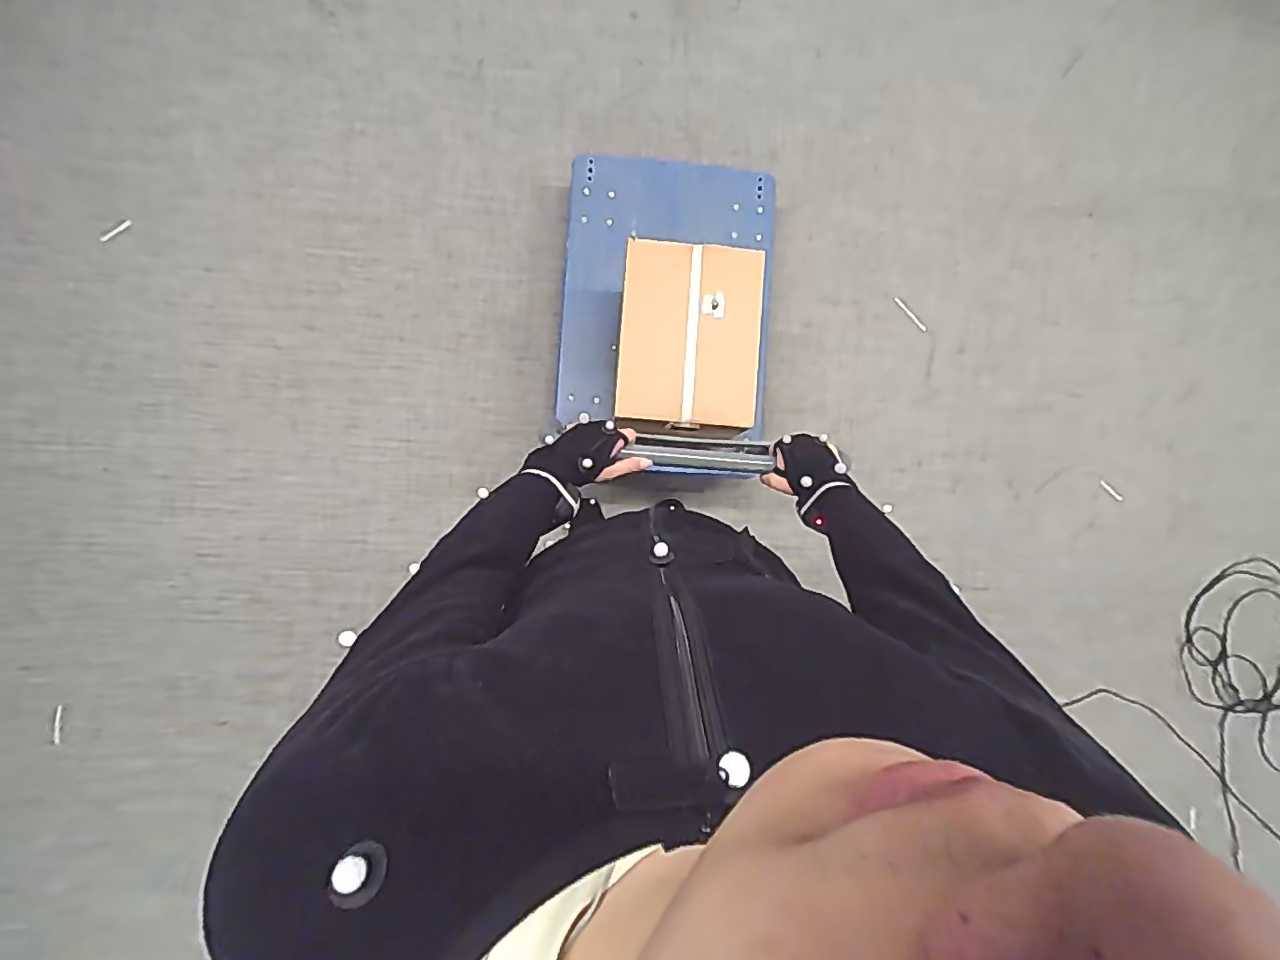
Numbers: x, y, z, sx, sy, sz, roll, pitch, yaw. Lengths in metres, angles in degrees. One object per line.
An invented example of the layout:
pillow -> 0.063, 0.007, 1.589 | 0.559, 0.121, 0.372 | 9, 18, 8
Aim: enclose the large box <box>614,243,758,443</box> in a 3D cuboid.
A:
large box -> 0.097, -0.313, 1.348 | 0.320, 0.320, 0.408 | 4, 86, -4
